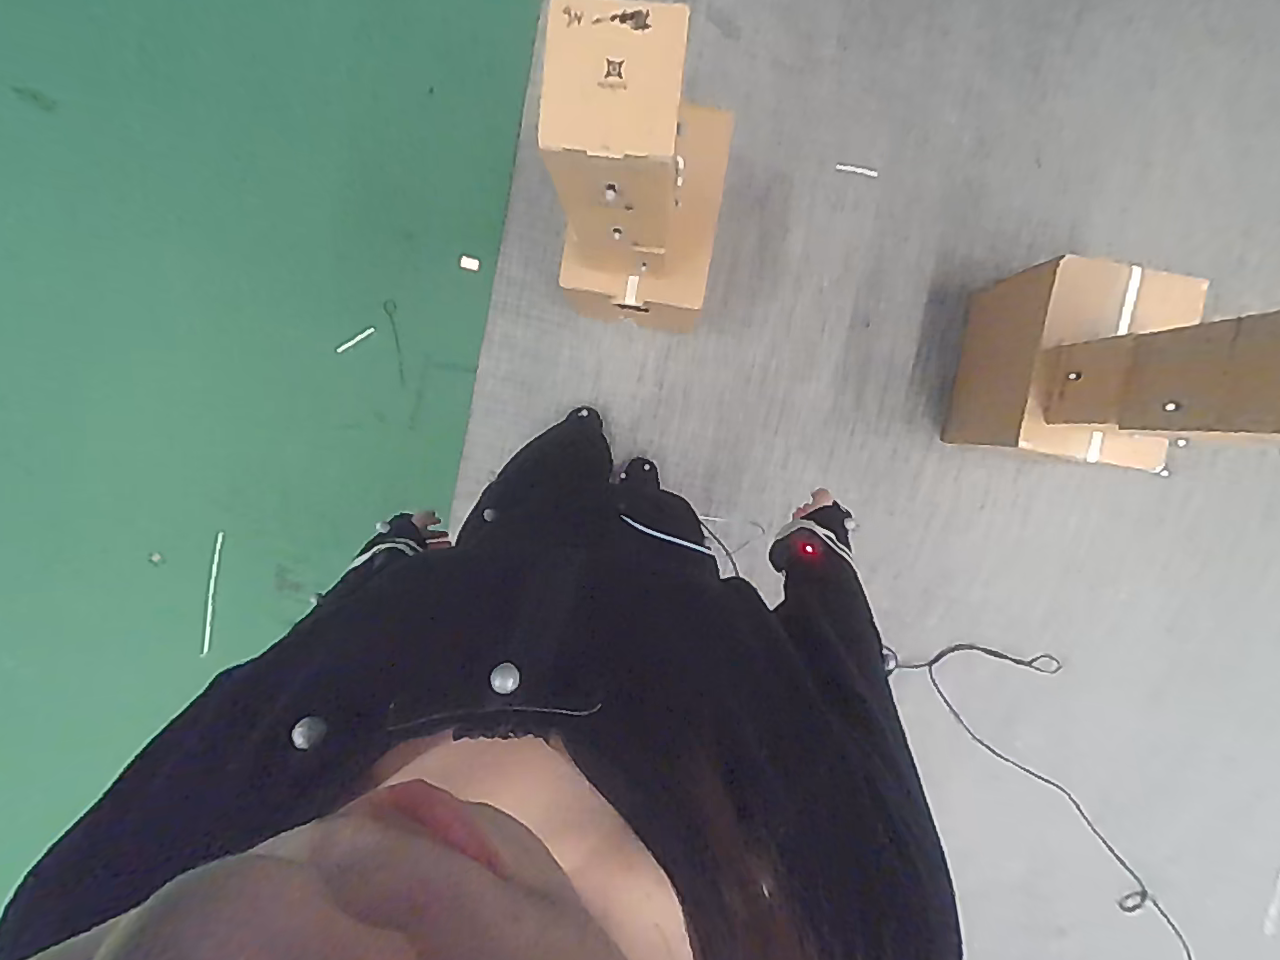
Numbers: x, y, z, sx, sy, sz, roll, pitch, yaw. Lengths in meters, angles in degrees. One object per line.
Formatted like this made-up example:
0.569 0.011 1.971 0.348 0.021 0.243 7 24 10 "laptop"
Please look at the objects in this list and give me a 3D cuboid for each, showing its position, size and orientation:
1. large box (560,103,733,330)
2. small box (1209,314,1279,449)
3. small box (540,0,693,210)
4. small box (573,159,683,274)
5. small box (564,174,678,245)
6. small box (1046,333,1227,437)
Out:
0.016 -0.599 1.275 0.320 0.320 0.408 10 95 0 "large box"
0.944 -0.130 0.727 0.168 0.176 0.179 12 98 1 "small box"
-0.026 -0.480 0.713 0.168 0.176 0.179 7 96 1 "small box"
-0.020 -0.508 1.040 0.179 0.176 0.168 9 95 2 "small box"
-0.022 -0.498 0.877 0.168 0.176 0.179 5 95 1 "small box"
0.951 -0.180 1.053 0.179 0.176 0.168 9 97 2 "small box"
